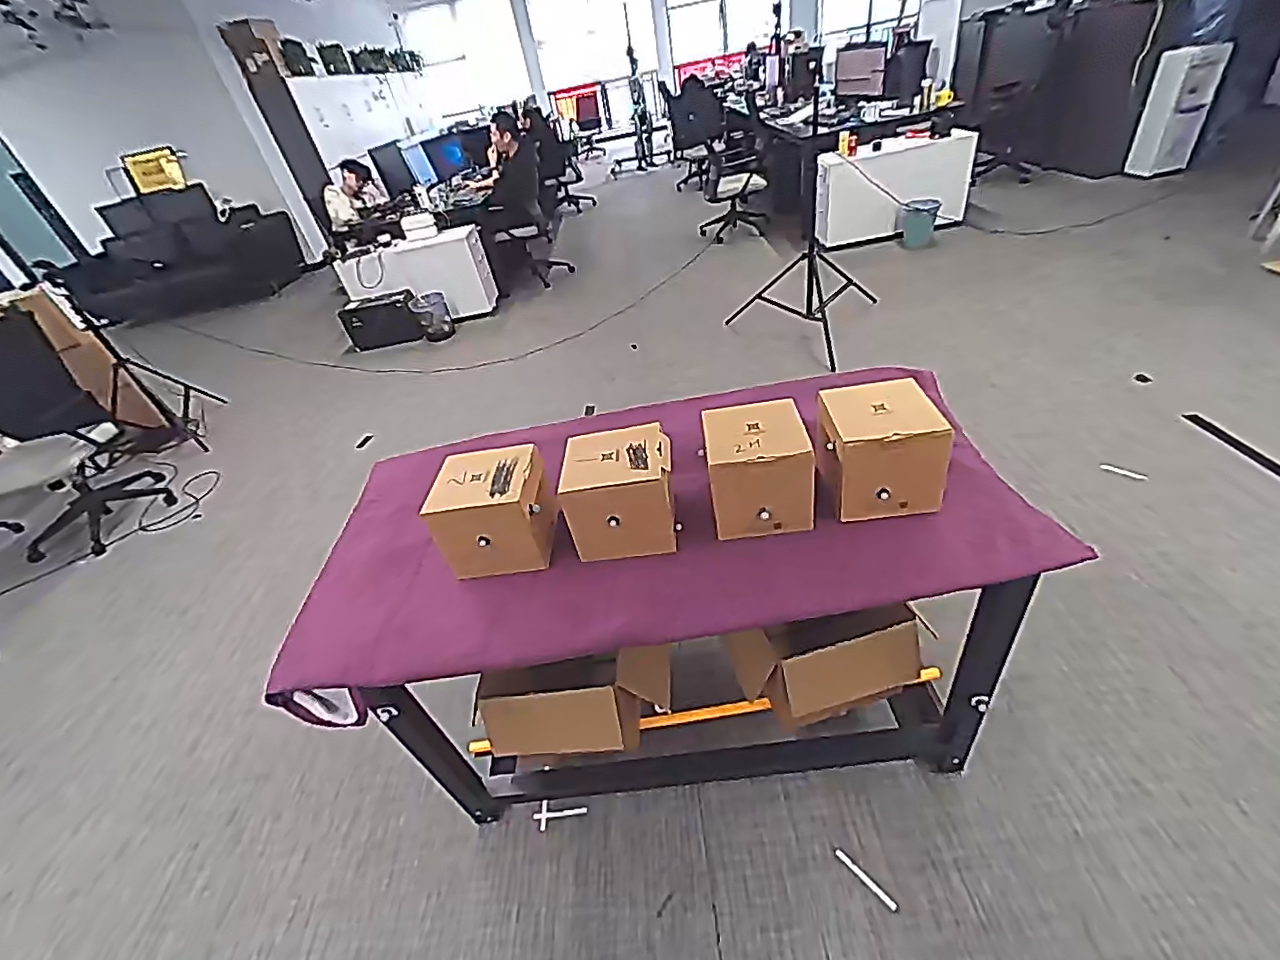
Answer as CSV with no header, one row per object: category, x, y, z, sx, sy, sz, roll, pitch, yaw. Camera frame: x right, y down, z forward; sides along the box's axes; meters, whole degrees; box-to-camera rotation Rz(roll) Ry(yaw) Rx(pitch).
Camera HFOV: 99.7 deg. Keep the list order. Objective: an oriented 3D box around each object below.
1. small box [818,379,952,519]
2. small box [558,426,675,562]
small box,0.413,-0.055,0.947,0.168,0.176,0.179,-8,37,8
small box,-0.032,0.028,0.976,0.179,0.176,0.168,-9,37,8
